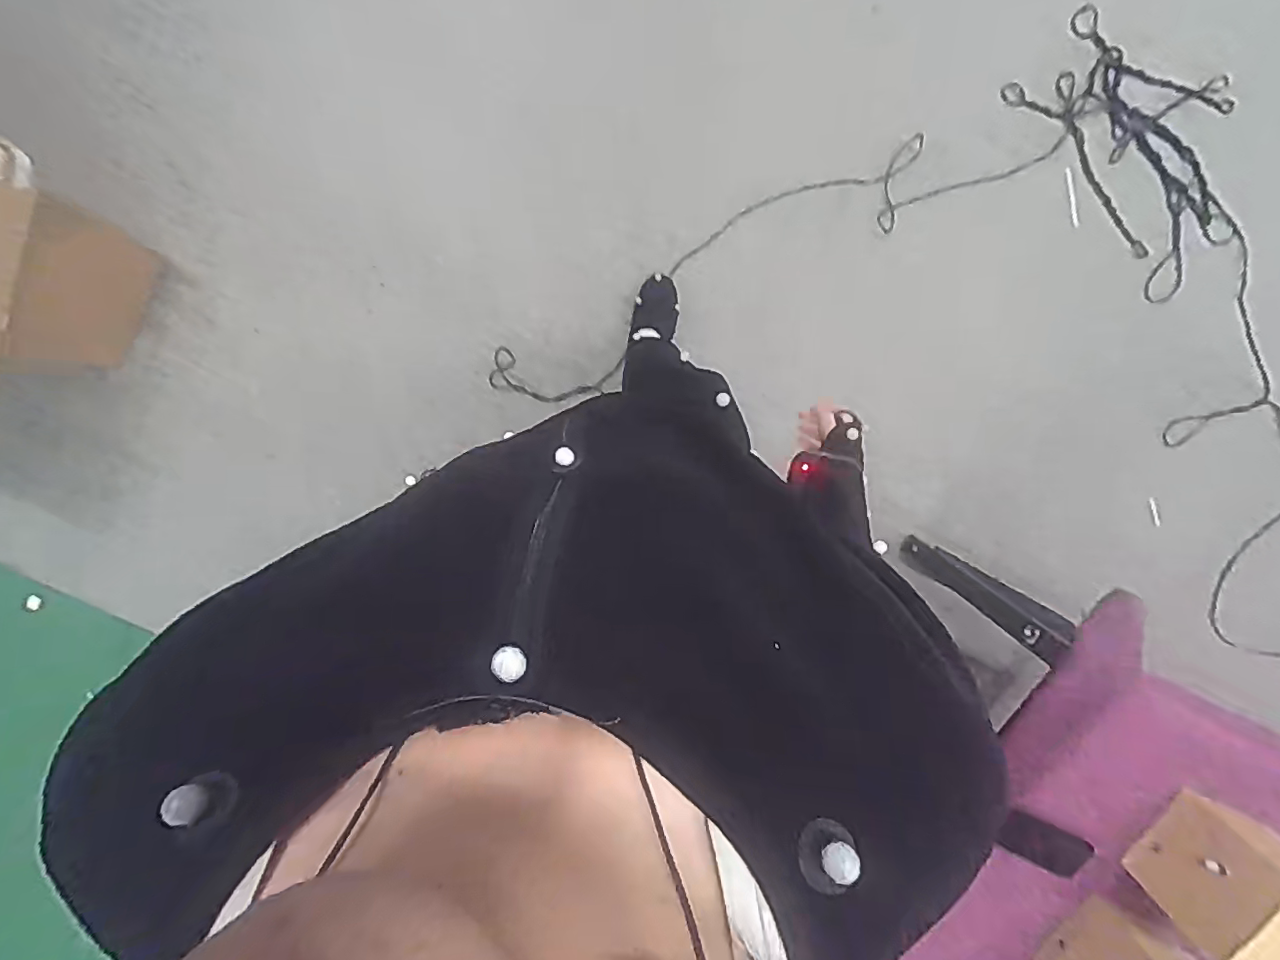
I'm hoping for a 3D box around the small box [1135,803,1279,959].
[{"bbox_3d":[0.895,0.613,0.782,0.179,0.176,0.168,26,102,-5],"label":"small box"}]
